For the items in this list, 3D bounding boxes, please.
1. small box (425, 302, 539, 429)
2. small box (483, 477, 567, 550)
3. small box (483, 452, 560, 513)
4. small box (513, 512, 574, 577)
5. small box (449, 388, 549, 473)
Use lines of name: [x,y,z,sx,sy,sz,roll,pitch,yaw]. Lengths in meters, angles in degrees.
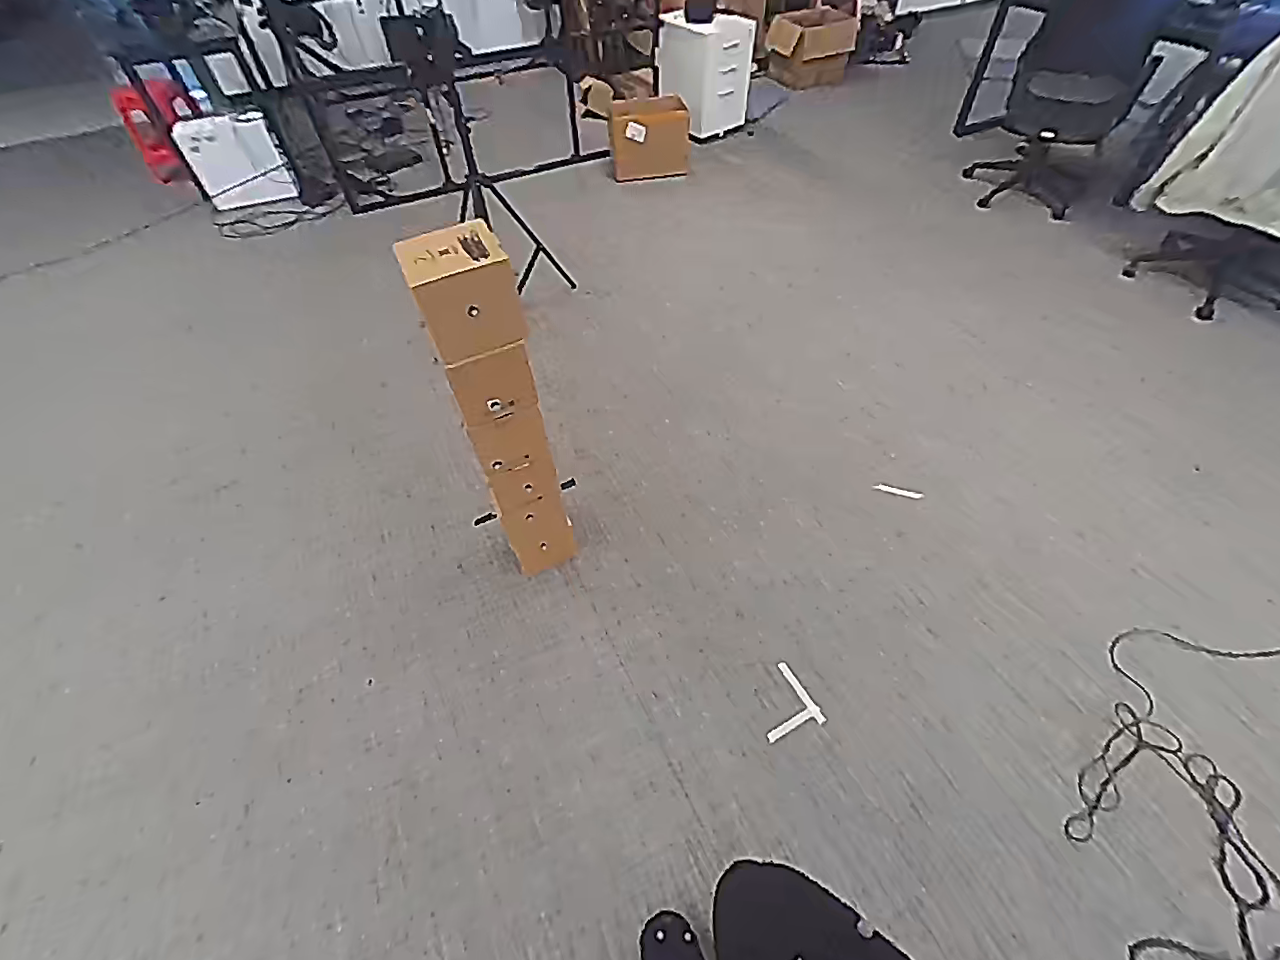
small box: [-0.330,-0.239,1.144,0.168,0.176,0.179,-24,56,-14]
small box: [-0.320,0.070,1.523,0.179,0.176,0.168,-20,55,-13]
small box: [-0.318,-0.036,1.399,0.168,0.176,0.179,-21,55,-14]
small box: [-0.310,0.167,1.656,0.179,0.176,0.168,-22,55,-15]
small box: [-0.327,-0.138,1.271,0.168,0.176,0.179,-22,53,-14]
